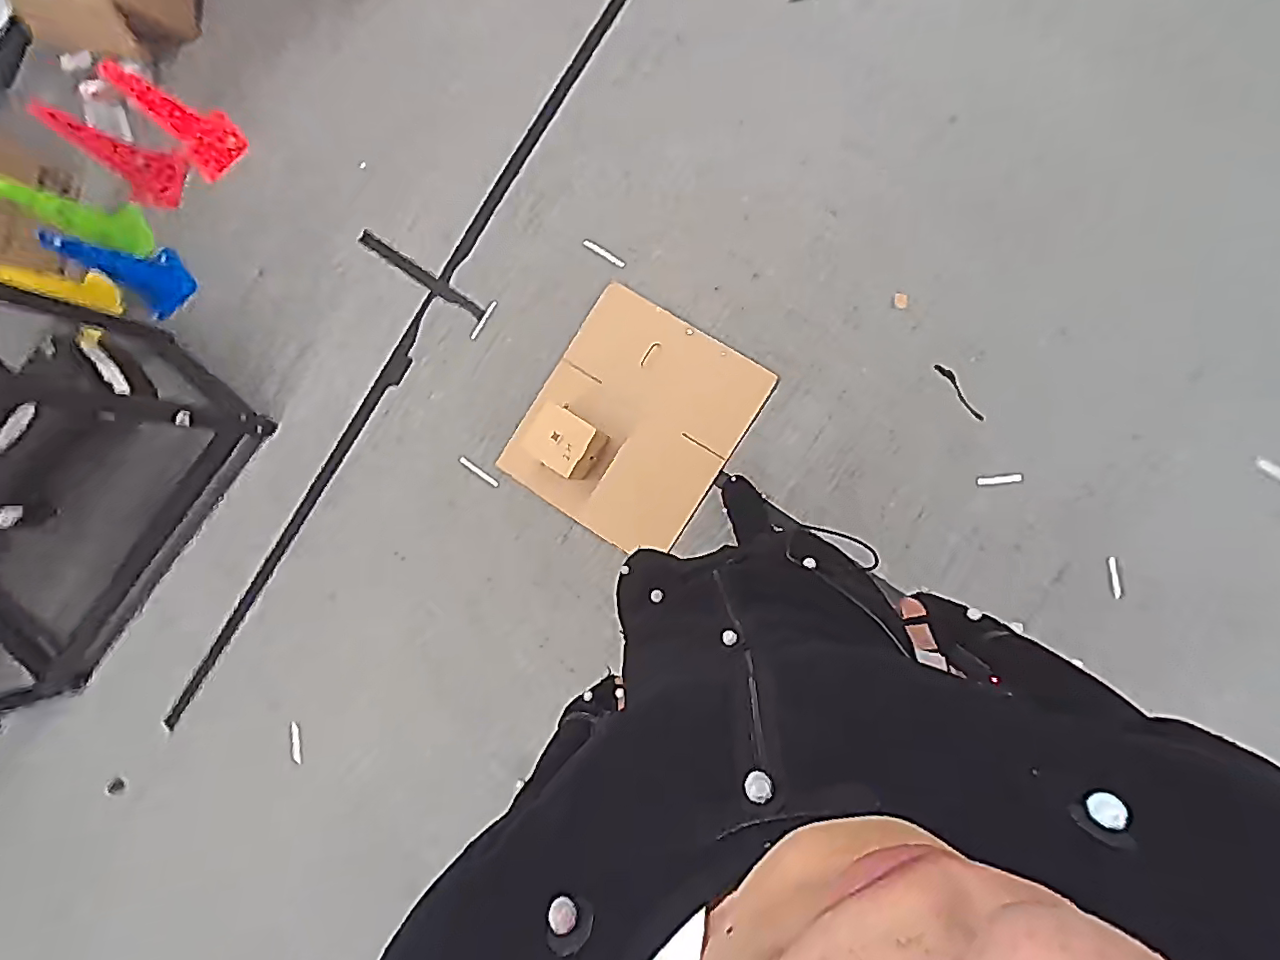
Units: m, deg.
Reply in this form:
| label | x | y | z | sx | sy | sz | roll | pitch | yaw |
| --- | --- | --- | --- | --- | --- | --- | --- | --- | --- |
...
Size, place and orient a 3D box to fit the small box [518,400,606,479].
| label | x | y | z | sx | sy | sz | roll | pitch | yaw |
| --- | --- | --- | --- | --- | --- | --- | --- | --- | --- |
| small box | -0.225 | -0.112 | 1.601 | 0.179 | 0.176 | 0.168 | 32 | 93 | 7 |
